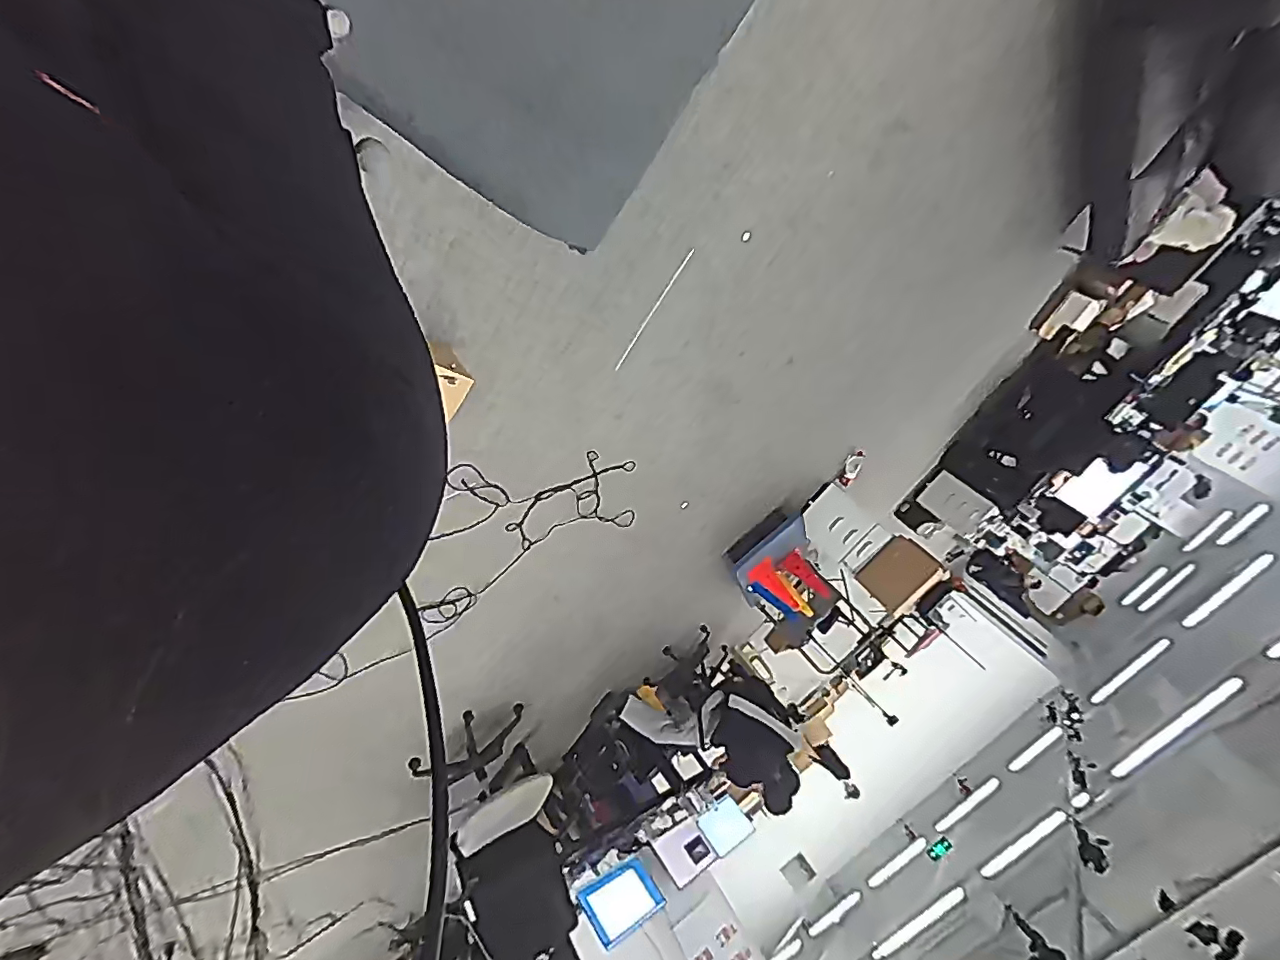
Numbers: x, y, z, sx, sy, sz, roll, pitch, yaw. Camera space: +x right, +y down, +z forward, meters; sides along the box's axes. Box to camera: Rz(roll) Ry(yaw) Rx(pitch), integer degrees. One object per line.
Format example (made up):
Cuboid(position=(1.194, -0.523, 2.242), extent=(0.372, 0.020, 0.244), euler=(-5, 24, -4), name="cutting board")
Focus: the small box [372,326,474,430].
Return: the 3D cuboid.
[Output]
Cuboid(position=(-0.571, -0.264, 1.409), extent=(0.179, 0.176, 0.168), euler=(-51, 146, 14), name="small box")
